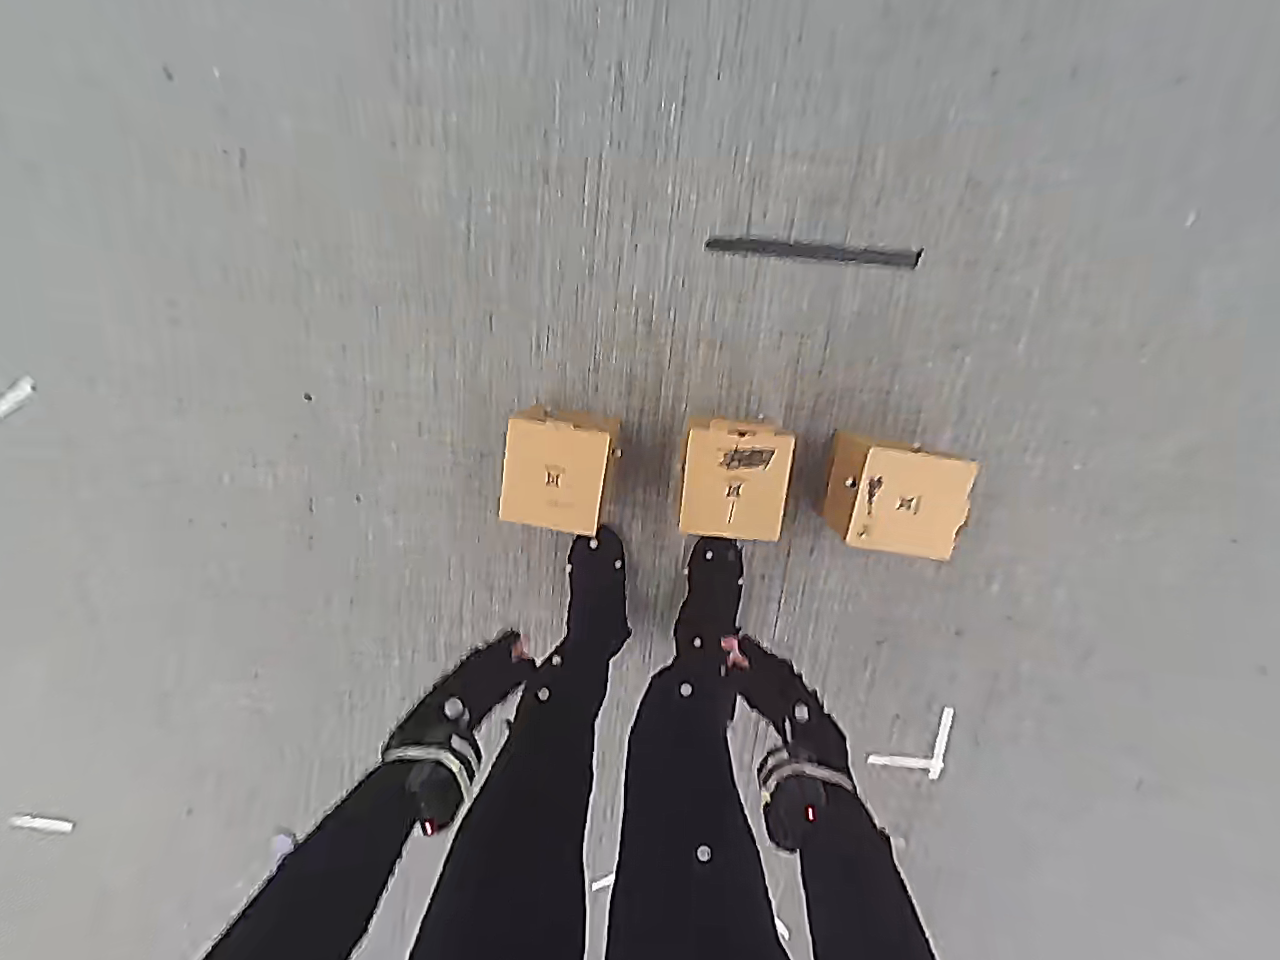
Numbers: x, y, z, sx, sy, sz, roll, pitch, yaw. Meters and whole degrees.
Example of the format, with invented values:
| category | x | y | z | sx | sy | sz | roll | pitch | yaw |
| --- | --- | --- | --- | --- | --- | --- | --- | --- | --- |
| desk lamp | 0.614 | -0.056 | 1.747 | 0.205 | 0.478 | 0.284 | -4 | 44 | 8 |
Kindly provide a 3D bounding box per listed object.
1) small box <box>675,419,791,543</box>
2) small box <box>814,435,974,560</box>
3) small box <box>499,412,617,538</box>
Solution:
| category | x | y | z | sx | sy | sz | roll | pitch | yaw |
| --- | --- | --- | --- | --- | --- | --- | --- | --- | --- |
| small box | 0.151 | -0.006 | 0.940 | 0.168 | 0.176 | 0.179 | 5 | 104 | 1 |
| small box | 0.426 | 0.022 | 0.938 | 0.179 | 0.176 | 0.168 | 8 | 104 | -1 |
| small box | -0.137 | -0.018 | 0.952 | 0.168 | 0.176 | 0.179 | 9 | 104 | 1 |
